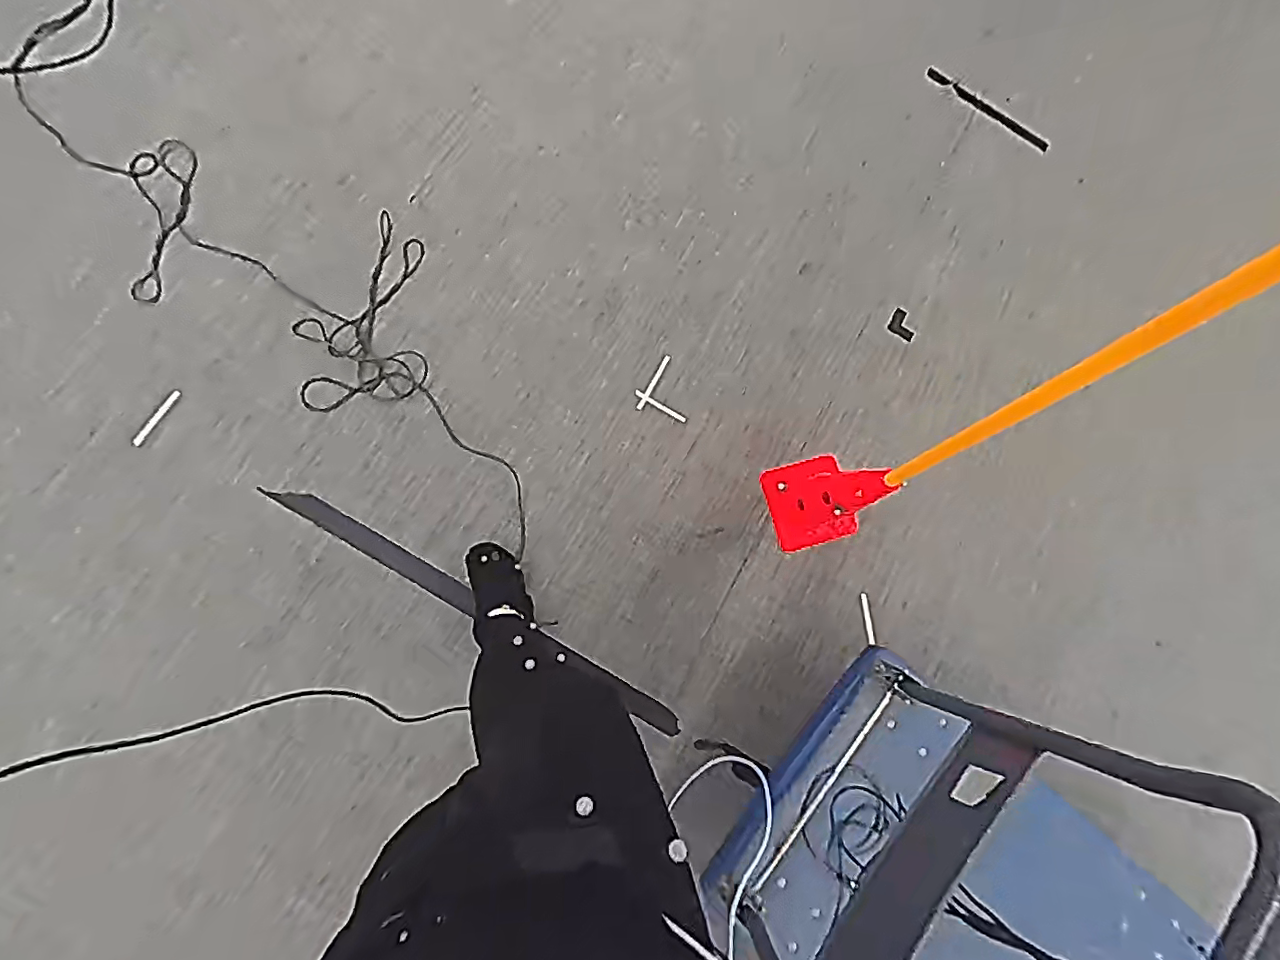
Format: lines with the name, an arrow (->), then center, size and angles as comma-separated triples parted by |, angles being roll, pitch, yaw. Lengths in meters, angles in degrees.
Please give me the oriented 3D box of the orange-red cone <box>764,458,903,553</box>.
orange-red cone -> 0.419, 0.034, 1.099 | 0.198, 0.360, 0.199 | -14, 84, -7
